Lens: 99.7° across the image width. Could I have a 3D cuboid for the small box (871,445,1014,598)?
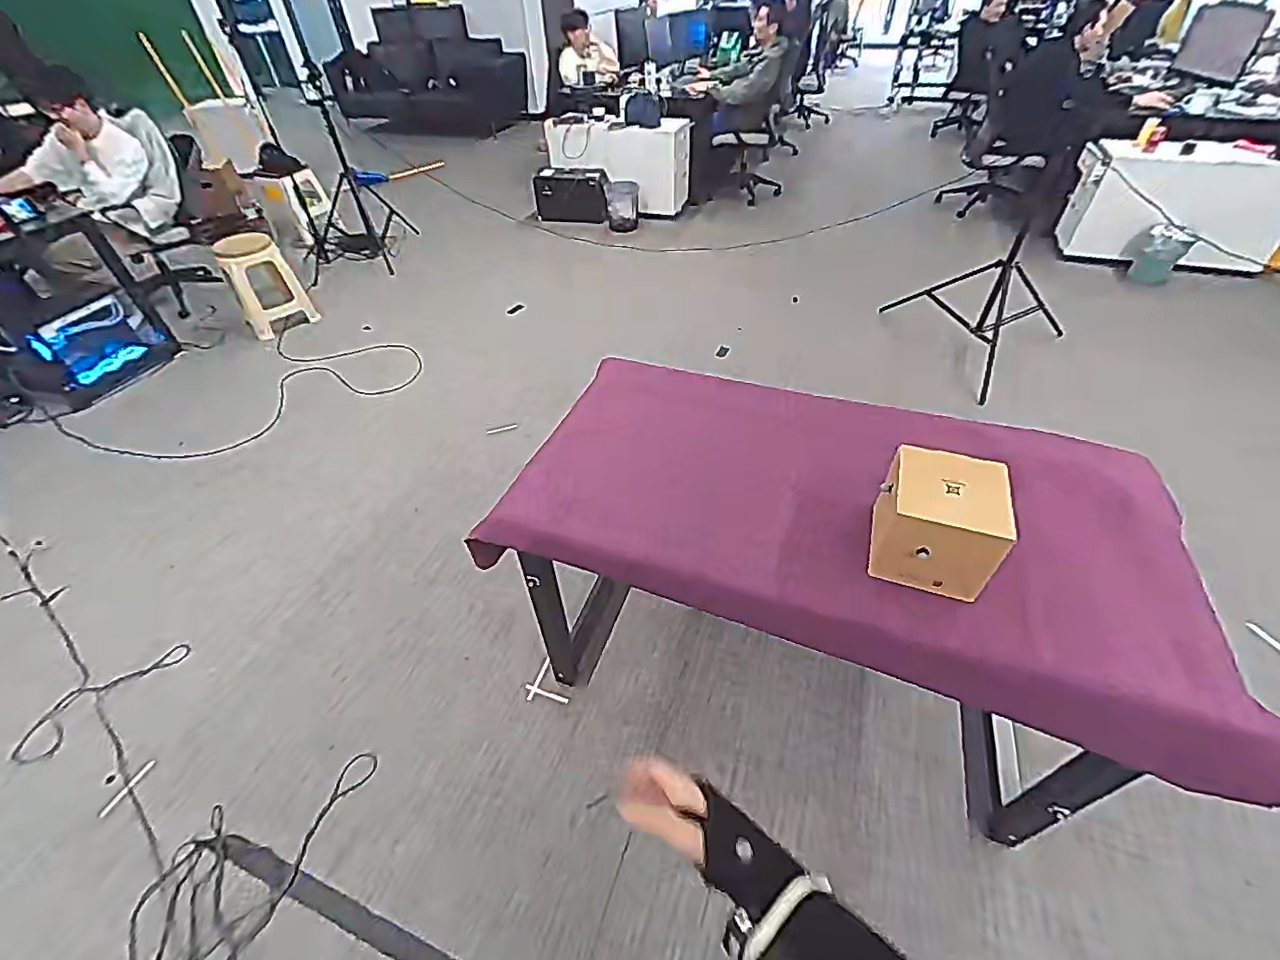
[{"bbox_3d":[0.499,0.071,0.912,0.168,0.176,0.179,13,46,16],"label":"small box"}]
